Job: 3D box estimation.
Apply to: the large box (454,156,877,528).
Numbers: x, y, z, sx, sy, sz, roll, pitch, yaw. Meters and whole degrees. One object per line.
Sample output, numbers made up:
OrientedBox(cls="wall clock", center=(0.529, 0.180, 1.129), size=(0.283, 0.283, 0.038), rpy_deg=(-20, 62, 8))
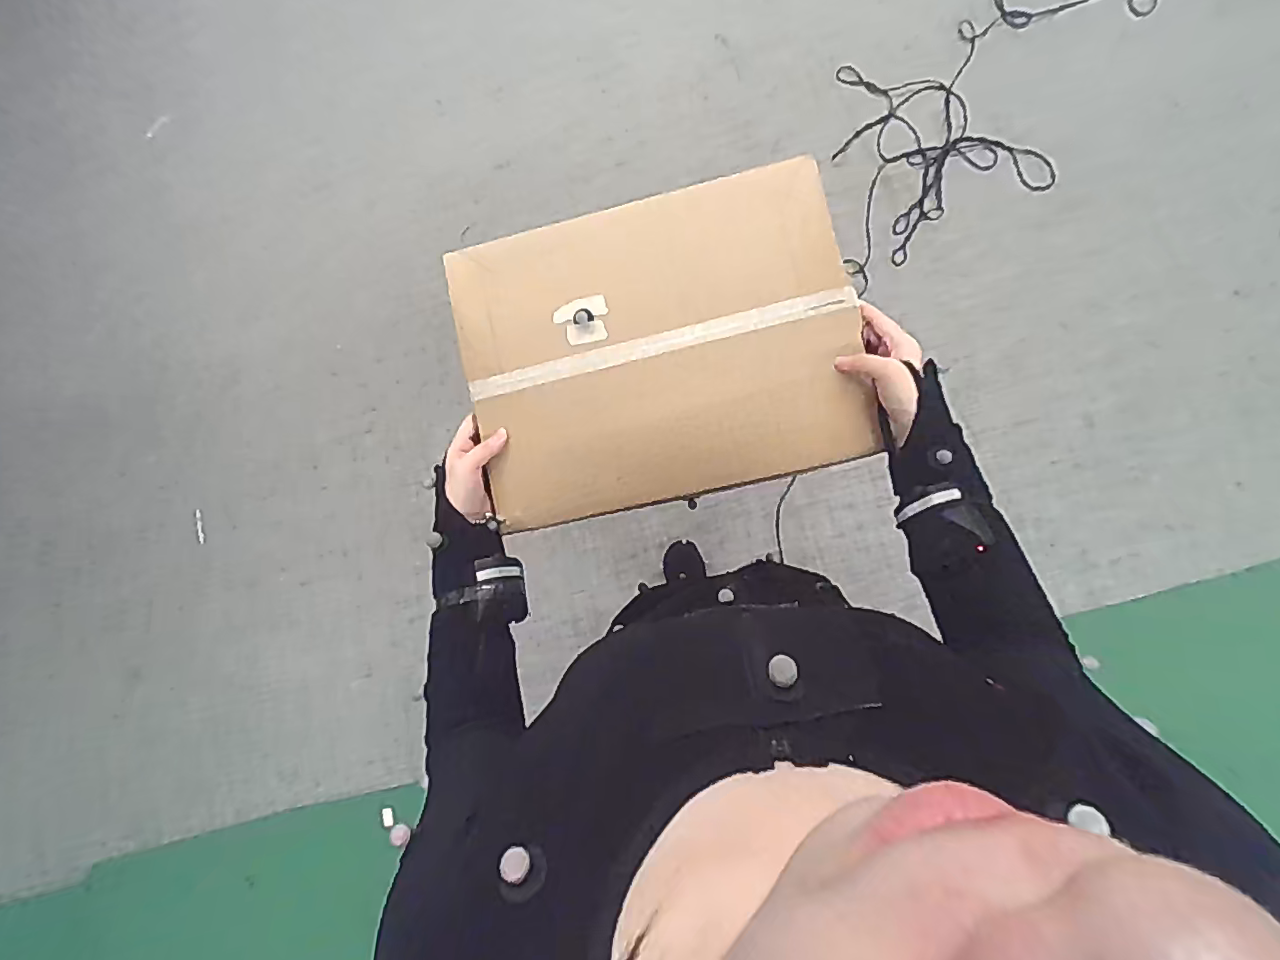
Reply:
OrientedBox(cls="large box", center=(0.036, -0.140, 0.719), size=(0.408, 0.320, 0.320), rpy_deg=(-13, 86, 7))
